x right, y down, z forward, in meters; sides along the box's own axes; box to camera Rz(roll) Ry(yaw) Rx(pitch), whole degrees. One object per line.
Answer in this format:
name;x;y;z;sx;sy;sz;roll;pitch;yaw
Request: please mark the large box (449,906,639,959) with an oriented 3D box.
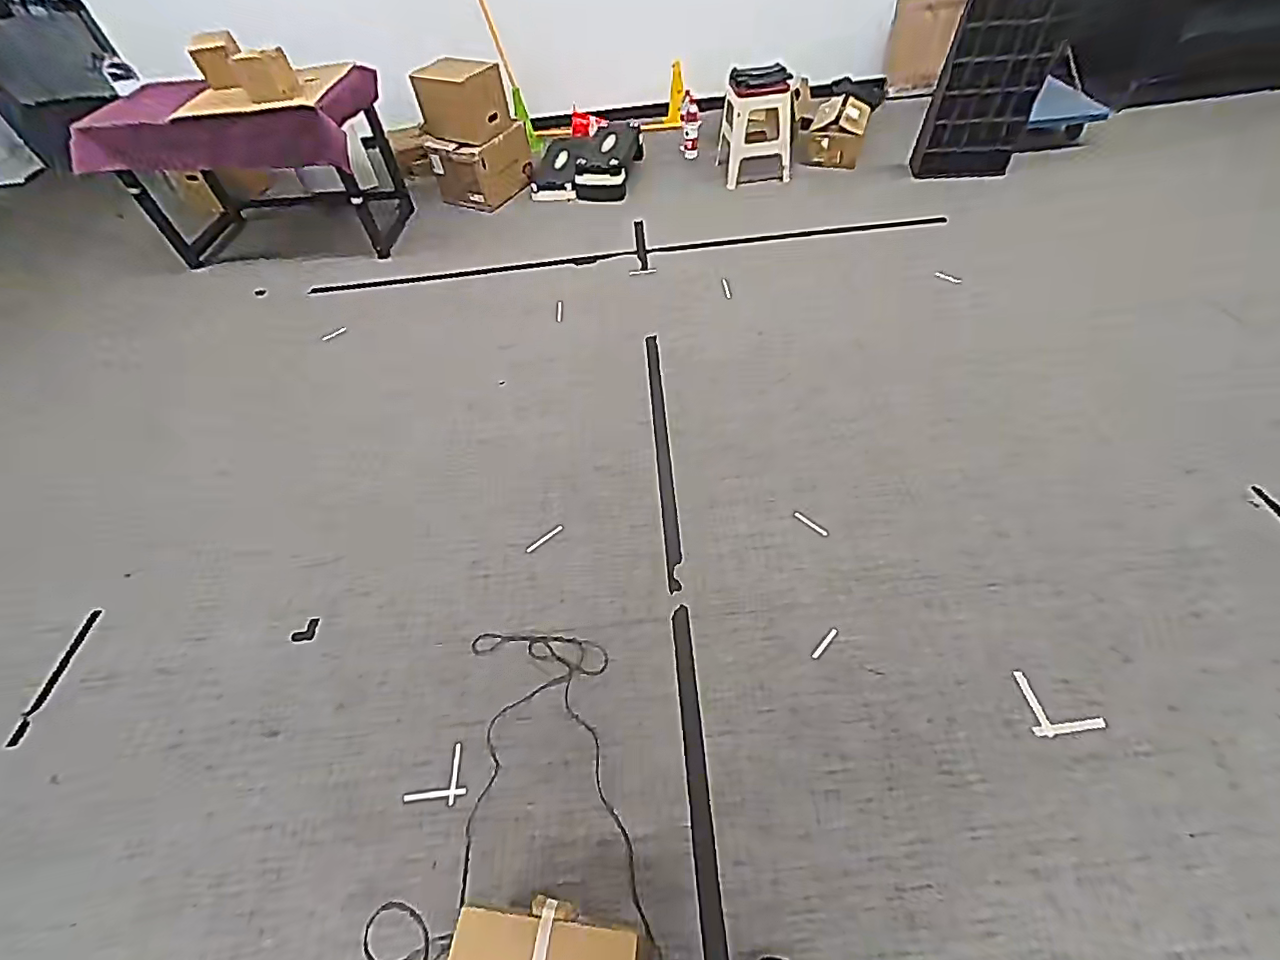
large box;-0.177;1.011;0.939;0.320;0.320;0.408;3;53;7
